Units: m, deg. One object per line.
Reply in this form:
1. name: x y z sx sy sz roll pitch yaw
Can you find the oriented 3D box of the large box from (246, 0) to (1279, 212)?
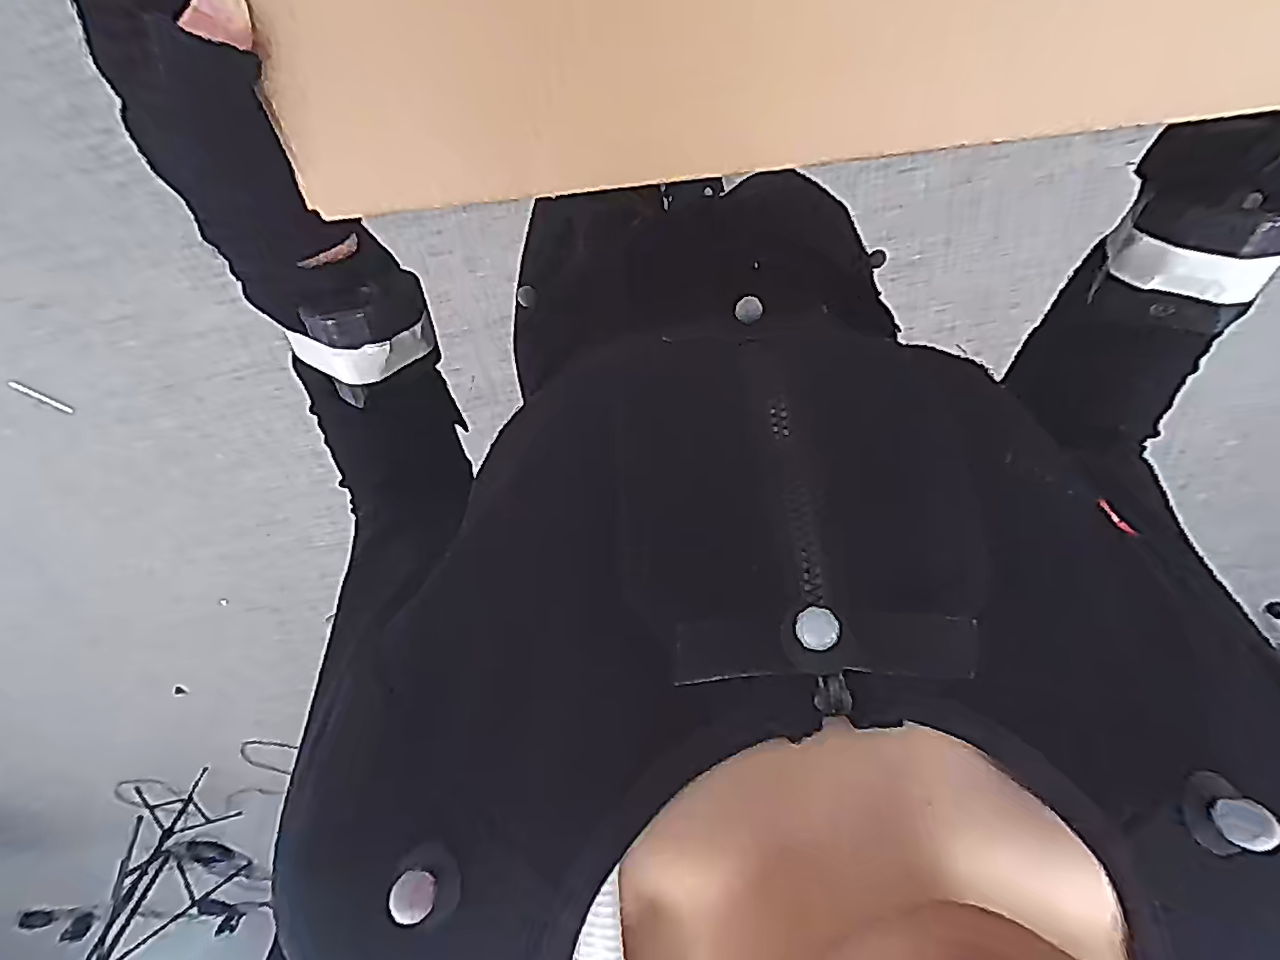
1. large box: 0.037 -0.355 0.243 0.408 0.320 0.320 -5 134 4
